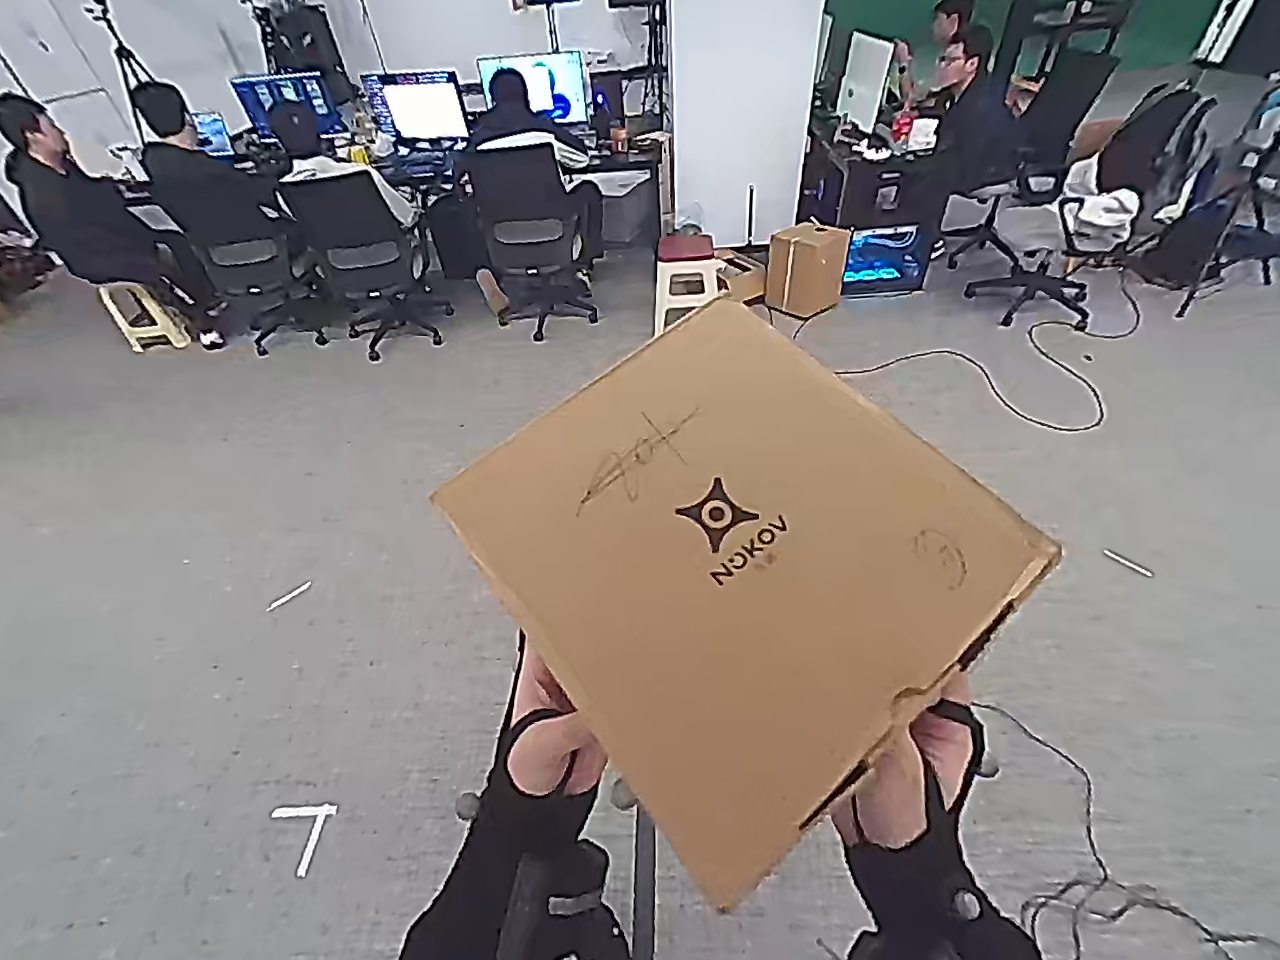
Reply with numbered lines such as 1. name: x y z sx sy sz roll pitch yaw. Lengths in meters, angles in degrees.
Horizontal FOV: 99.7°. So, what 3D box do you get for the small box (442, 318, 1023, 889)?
1. small box: 0.036 0.059 0.288 0.168 0.176 0.179 -38 65 -15
